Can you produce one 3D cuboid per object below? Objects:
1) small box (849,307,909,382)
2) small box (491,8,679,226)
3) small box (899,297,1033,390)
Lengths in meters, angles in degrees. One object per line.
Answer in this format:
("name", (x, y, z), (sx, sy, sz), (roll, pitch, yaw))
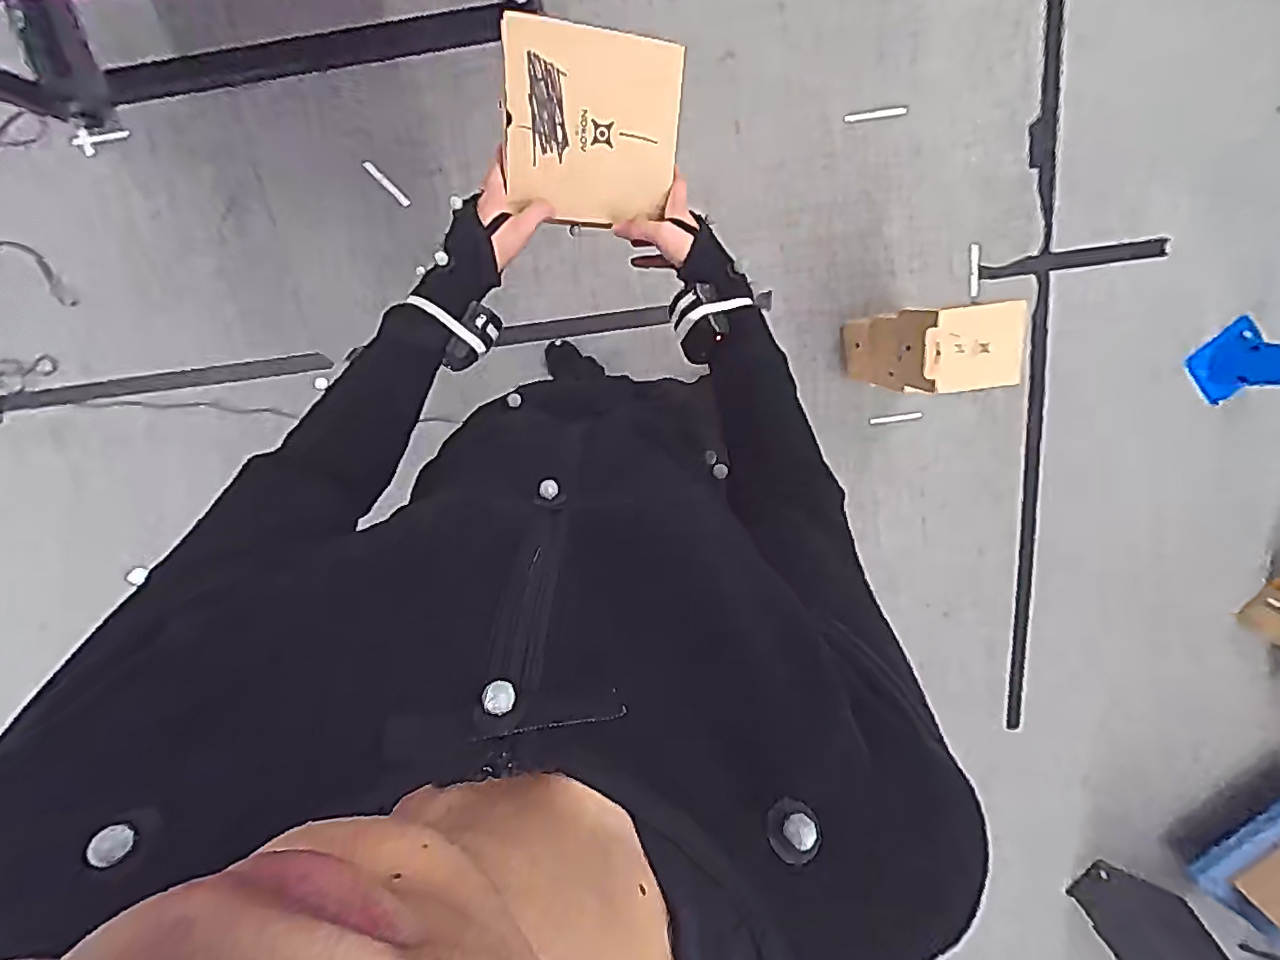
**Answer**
("small box", (0.681, -0.370, 1.462), (0.179, 0.176, 0.168), (-12, 107, 2))
("small box", (-0.068, -0.381, 0.602), (0.179, 0.176, 0.168), (-1, 114, -11))
("small box", (0.677, -0.293, 1.140), (0.179, 0.176, 0.168), (-7, 108, 1))
